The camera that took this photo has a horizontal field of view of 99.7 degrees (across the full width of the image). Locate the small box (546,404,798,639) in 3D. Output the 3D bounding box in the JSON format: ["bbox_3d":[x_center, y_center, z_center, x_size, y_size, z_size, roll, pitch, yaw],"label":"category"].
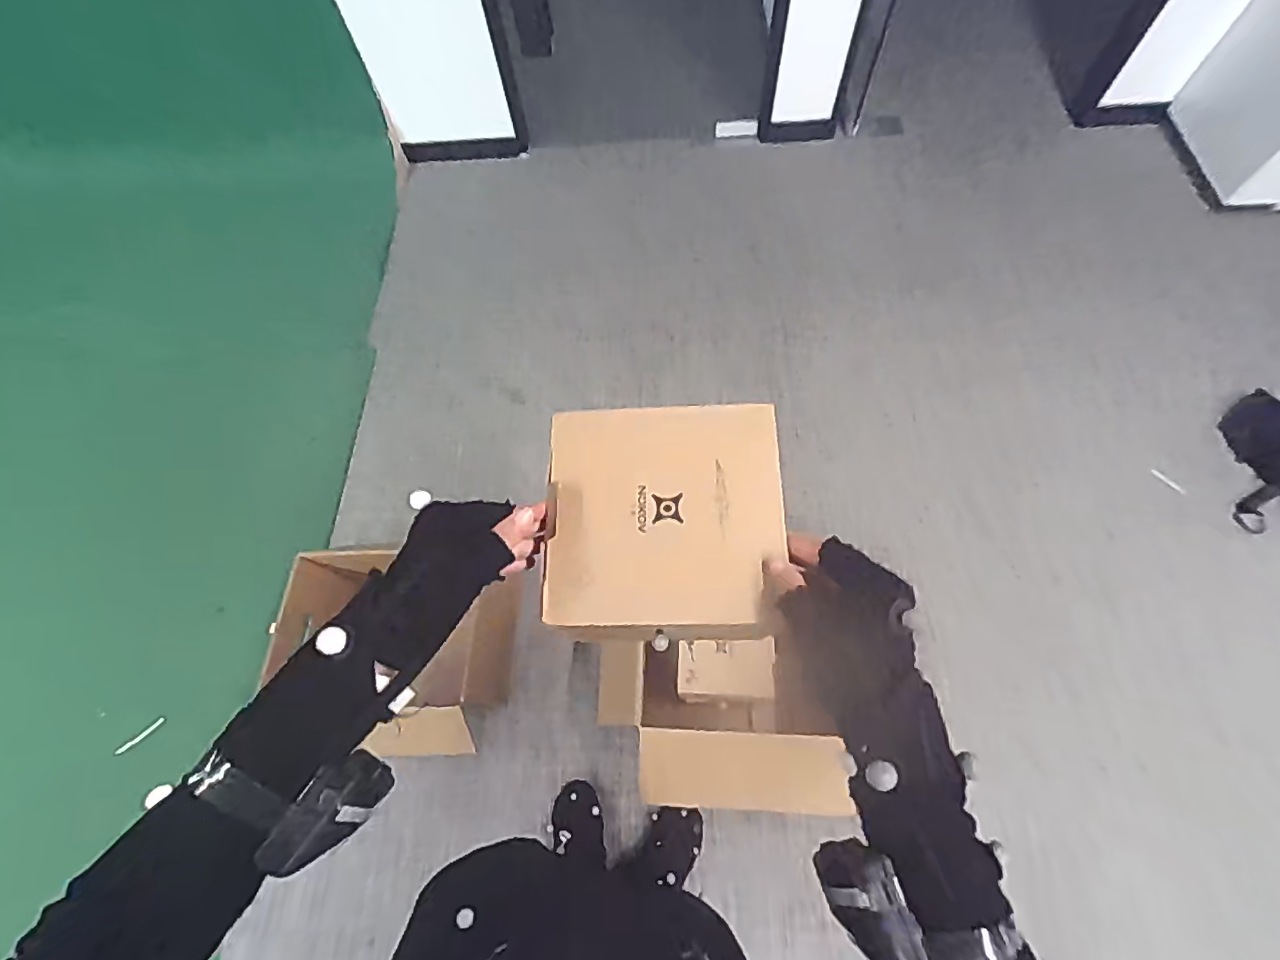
[{"bbox_3d":[0.024,0.048,0.470,0.179,0.176,0.168,-3,71,2],"label":"small box"}]
